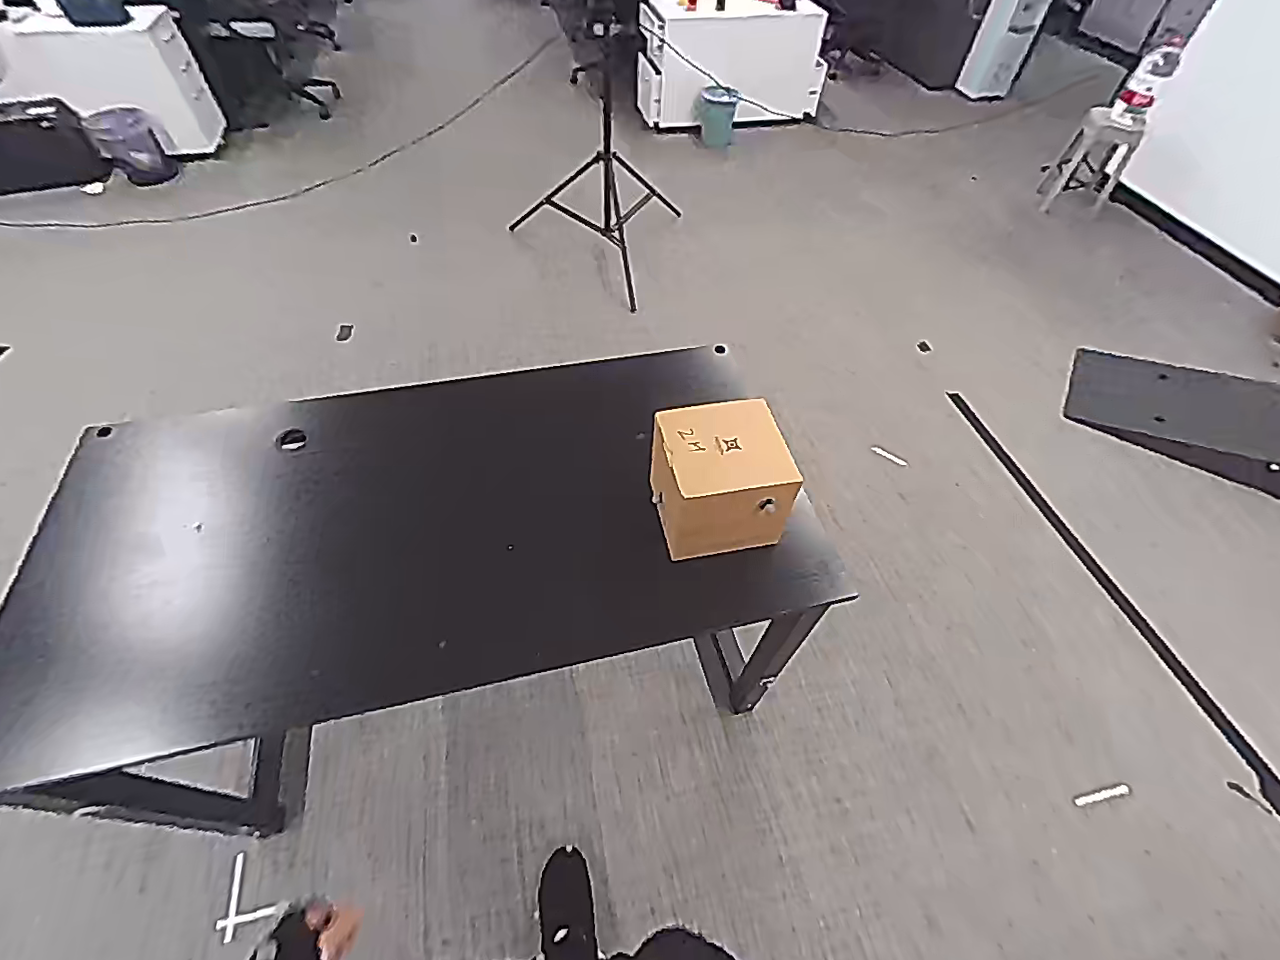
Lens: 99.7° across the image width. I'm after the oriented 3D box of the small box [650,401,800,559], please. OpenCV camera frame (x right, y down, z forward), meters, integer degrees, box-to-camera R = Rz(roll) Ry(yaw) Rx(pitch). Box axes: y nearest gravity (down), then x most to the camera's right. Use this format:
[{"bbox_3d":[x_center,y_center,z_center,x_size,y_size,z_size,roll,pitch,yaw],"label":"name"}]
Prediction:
[{"bbox_3d":[0.117,0.002,0.837,0.179,0.176,0.168,-9,53,-8],"label":"small box"}]
